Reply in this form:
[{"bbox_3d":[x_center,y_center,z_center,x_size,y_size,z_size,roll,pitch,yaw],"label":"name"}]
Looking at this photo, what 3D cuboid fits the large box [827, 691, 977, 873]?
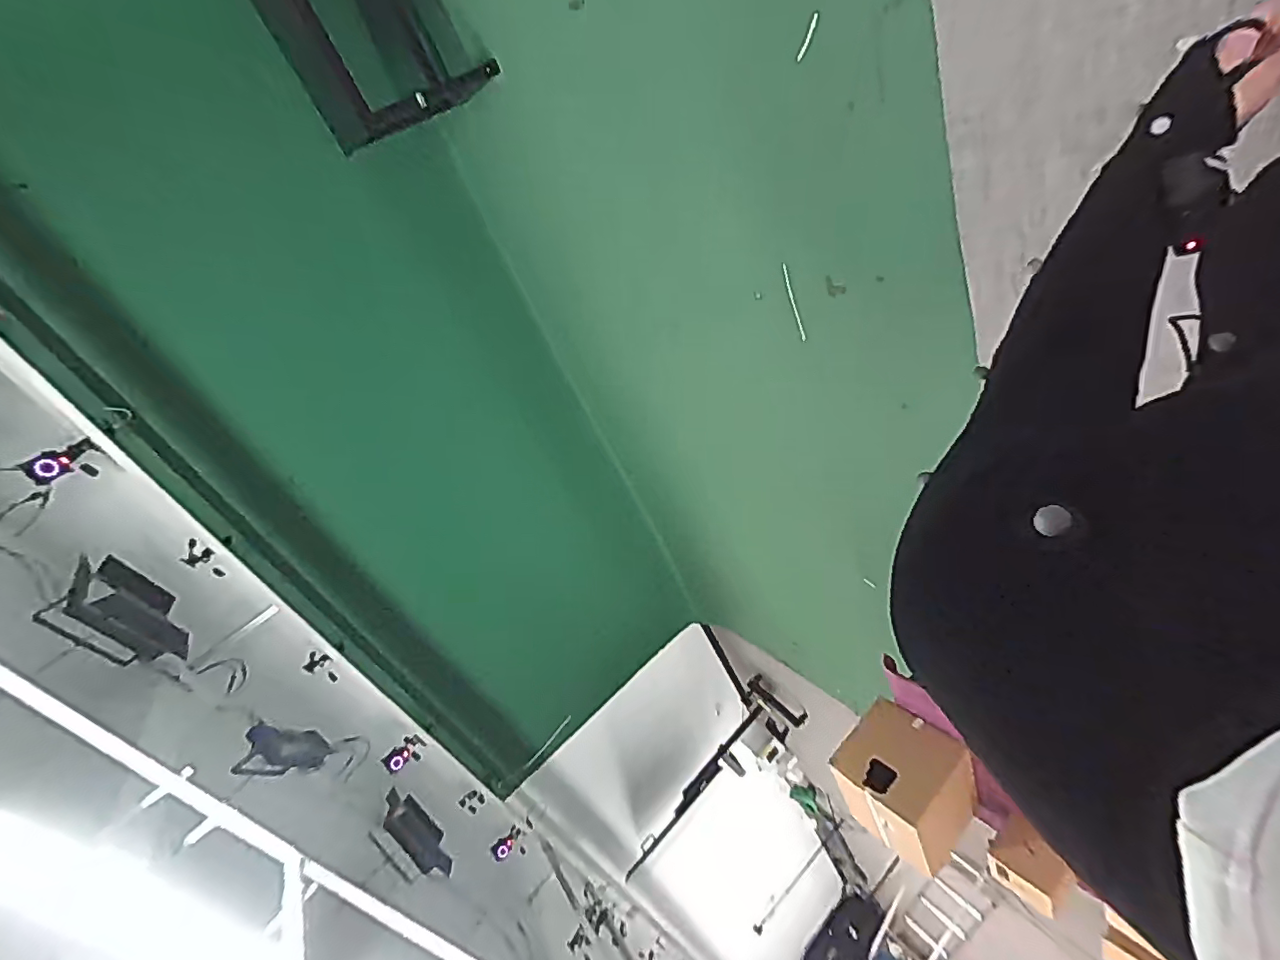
[{"bbox_3d":[0.902,1.019,1.848,0.320,0.320,0.408,20,144,52],"label":"large box"}]
